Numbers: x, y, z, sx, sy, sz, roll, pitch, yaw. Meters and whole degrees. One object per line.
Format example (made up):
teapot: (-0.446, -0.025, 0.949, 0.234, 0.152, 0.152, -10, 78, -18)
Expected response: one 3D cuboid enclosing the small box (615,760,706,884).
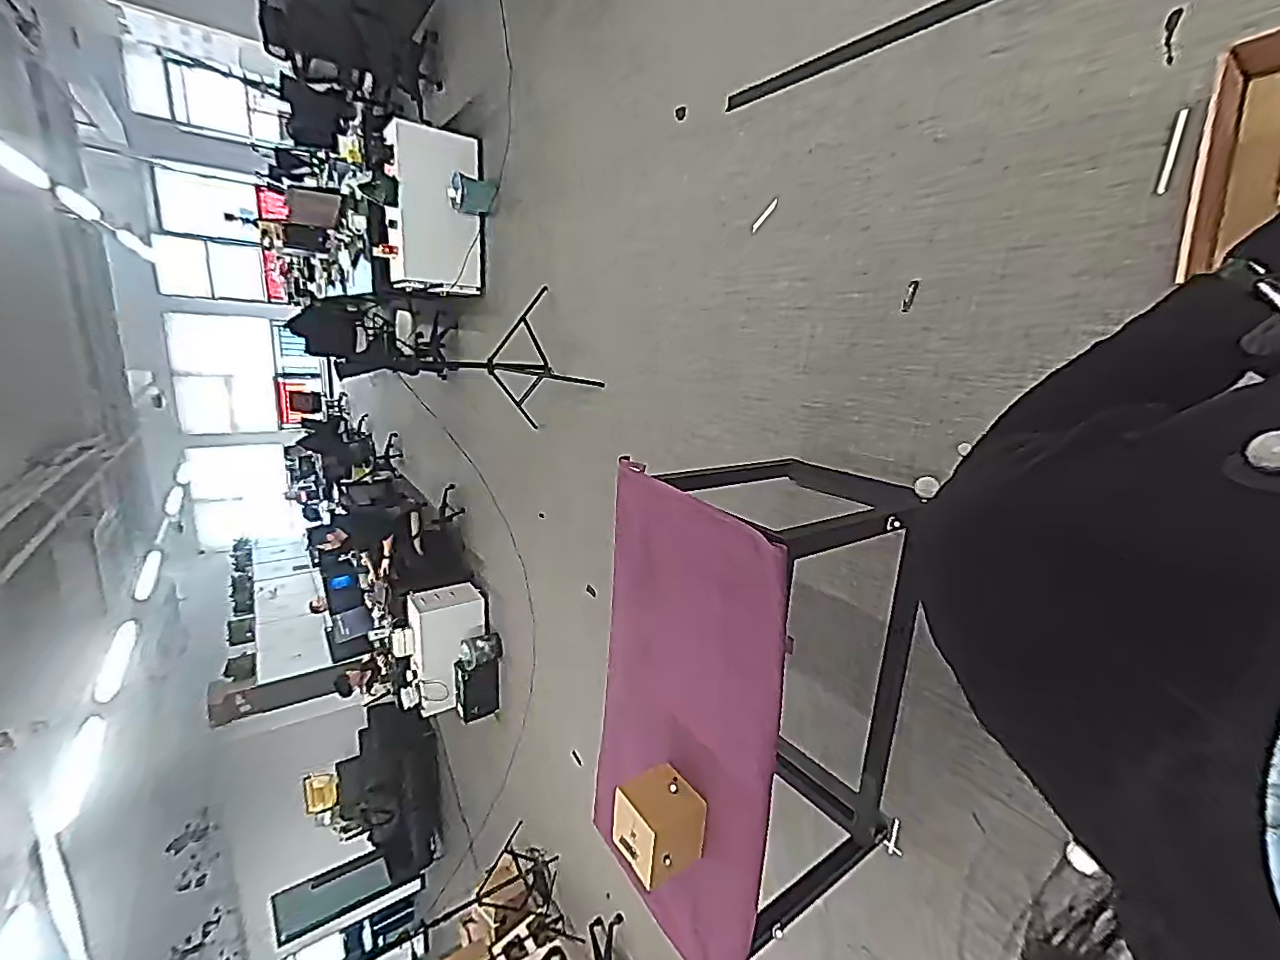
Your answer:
small box: (0.052, 0.865, 1.385, 0.168, 0.176, 0.179, 23, 114, 51)
